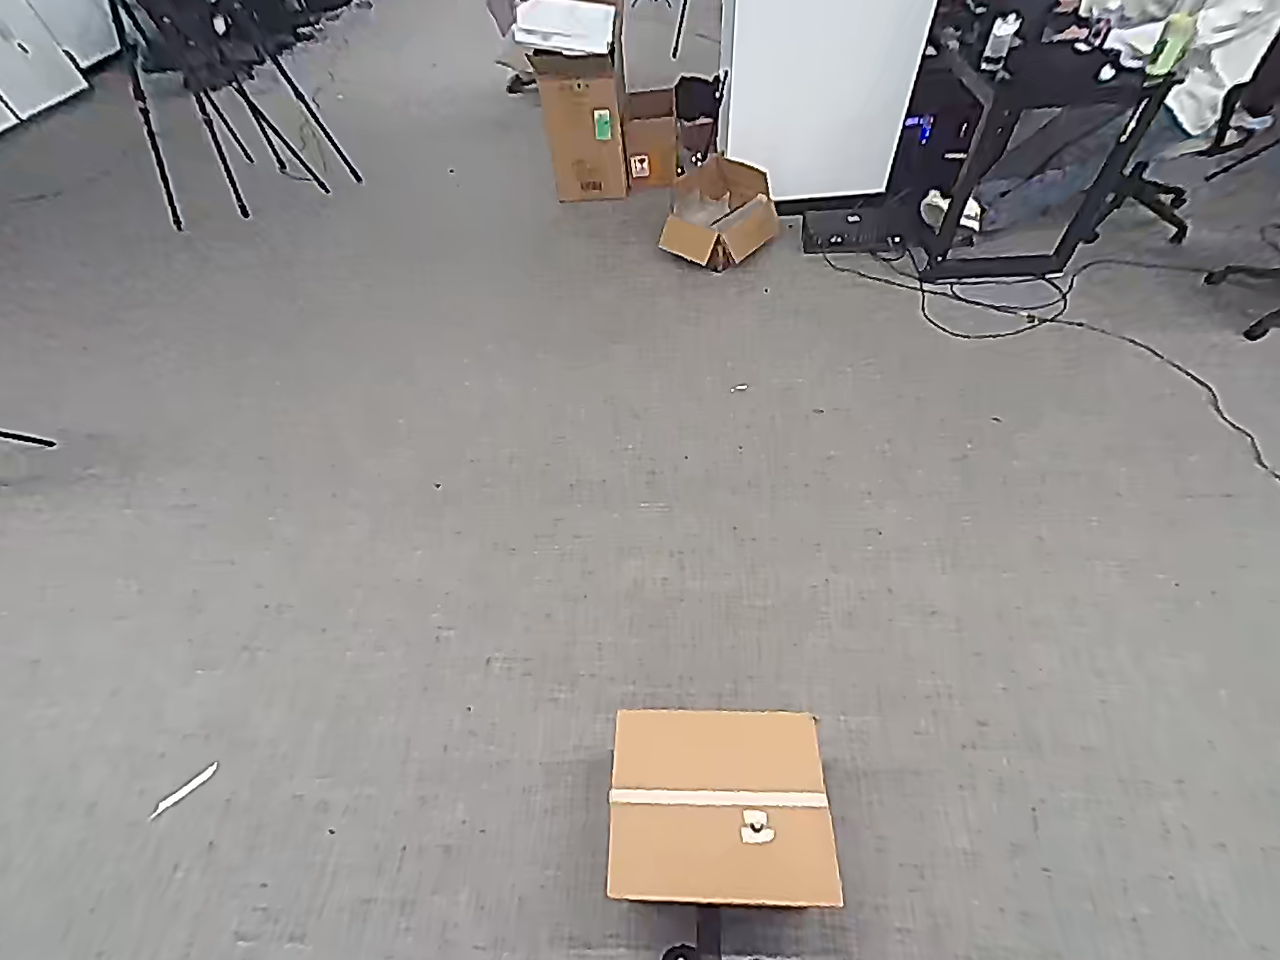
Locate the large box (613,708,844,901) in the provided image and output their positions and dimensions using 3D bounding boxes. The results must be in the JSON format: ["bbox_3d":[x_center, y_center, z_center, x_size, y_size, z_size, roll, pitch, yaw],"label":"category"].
[{"bbox_3d":[0.159,0.685,1.133,0.408,0.320,0.320,-1,53,3],"label":"large box"}]
